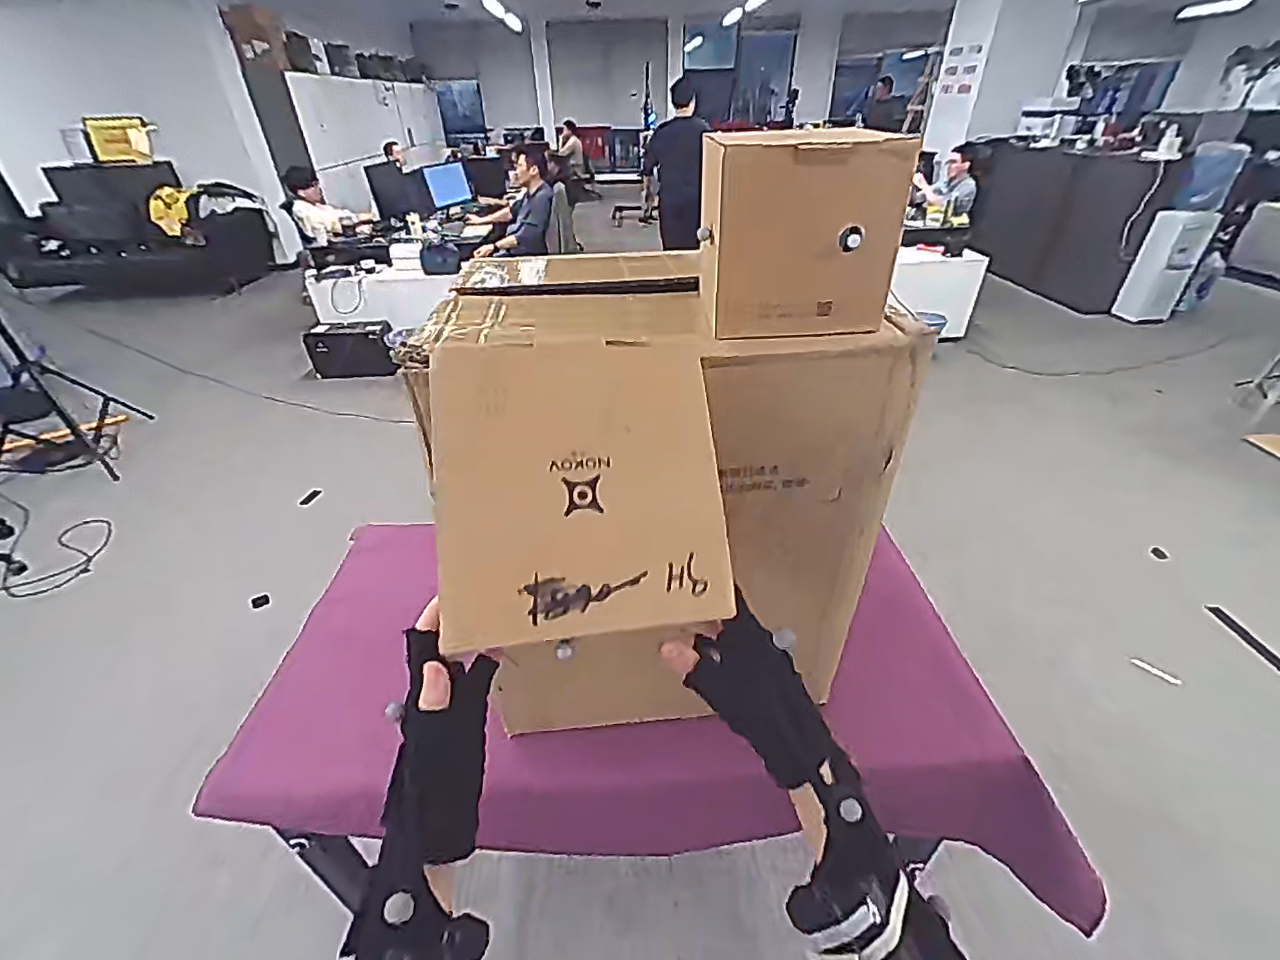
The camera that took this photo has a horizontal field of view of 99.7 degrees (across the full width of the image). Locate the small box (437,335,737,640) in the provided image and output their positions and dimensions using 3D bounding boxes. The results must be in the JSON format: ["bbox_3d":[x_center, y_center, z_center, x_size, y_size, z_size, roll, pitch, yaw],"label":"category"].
[{"bbox_3d":[-0.047,0.015,0.388,0.168,0.176,0.179,-4,77,-12],"label":"small box"}]

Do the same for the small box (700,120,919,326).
[{"bbox_3d":[0.152,-0.263,0.557,0.168,0.176,0.179,-2,34,0],"label":"small box"}]
